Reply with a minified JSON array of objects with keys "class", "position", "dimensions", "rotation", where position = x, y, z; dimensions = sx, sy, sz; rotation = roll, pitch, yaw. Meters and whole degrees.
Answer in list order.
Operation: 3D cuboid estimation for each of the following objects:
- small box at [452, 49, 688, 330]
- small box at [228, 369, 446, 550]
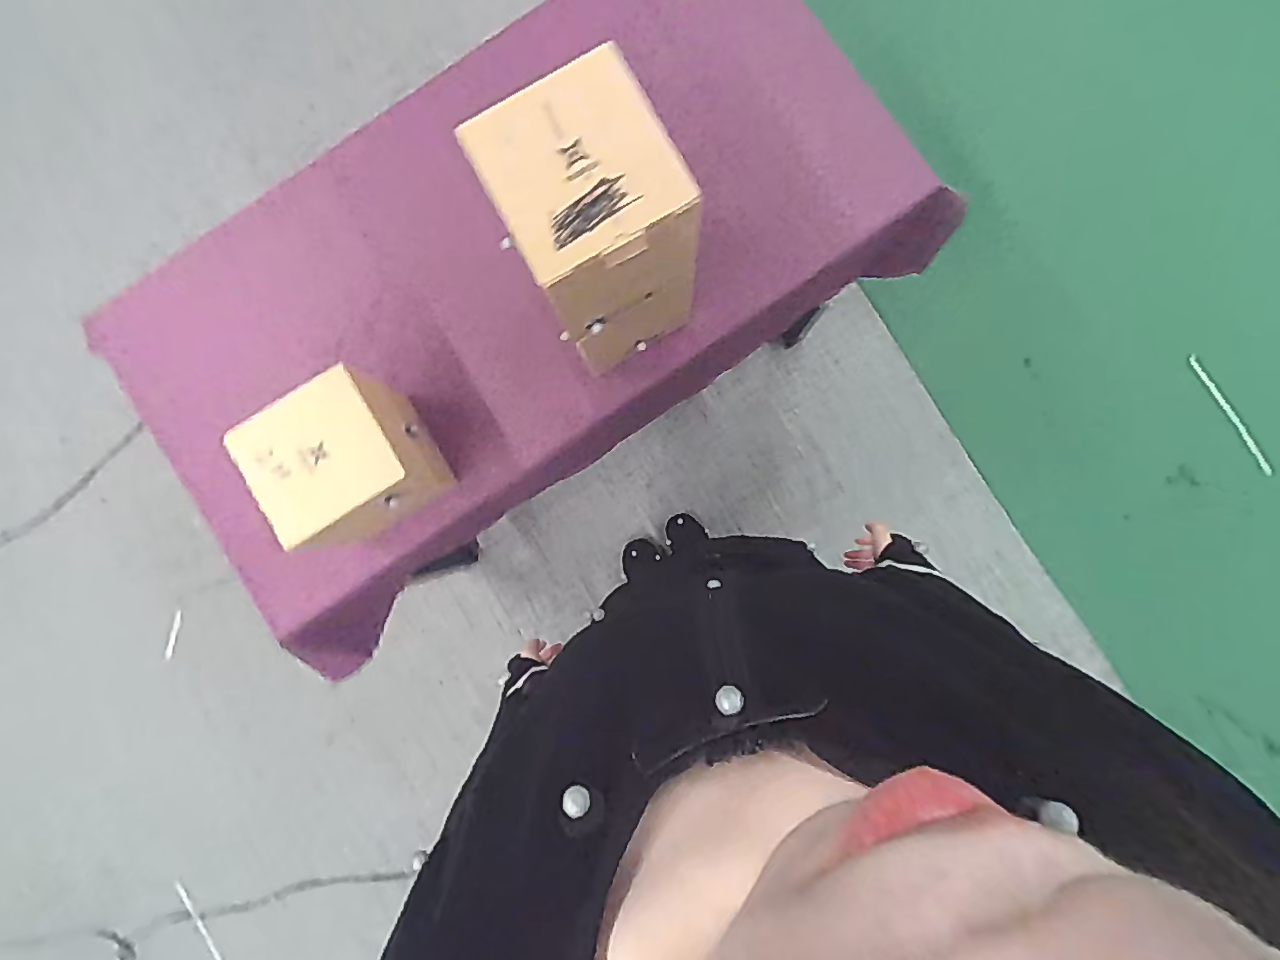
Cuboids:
[{"class":"small box","position":[-0.060,-0.281,0.574],"dimensions":[0.168,0.176,0.179],"rotation":[-29,84,1]},{"class":"small box","position":[-0.393,-0.021,0.741],"dimensions":[0.179,0.176,0.168],"rotation":[-32,84,1]}]
